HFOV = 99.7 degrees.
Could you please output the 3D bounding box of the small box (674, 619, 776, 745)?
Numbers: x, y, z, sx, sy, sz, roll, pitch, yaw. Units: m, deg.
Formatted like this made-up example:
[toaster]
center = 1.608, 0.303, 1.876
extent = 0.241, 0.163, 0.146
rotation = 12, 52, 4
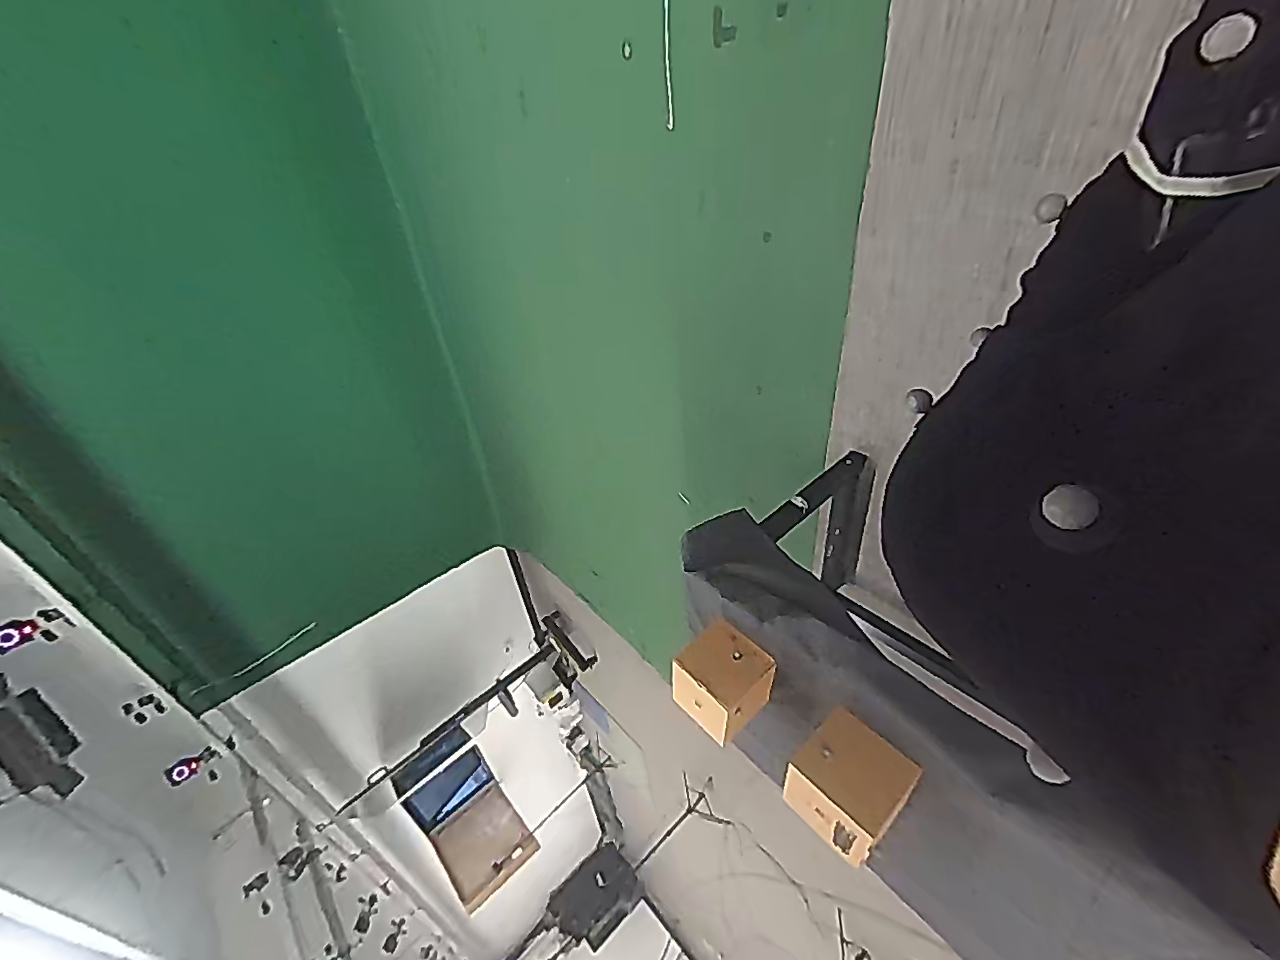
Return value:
[small box]
center = 0.196, 0.462, 1.252
extent = 0.168, 0.176, 0.179
rotation = 34, 142, 36
